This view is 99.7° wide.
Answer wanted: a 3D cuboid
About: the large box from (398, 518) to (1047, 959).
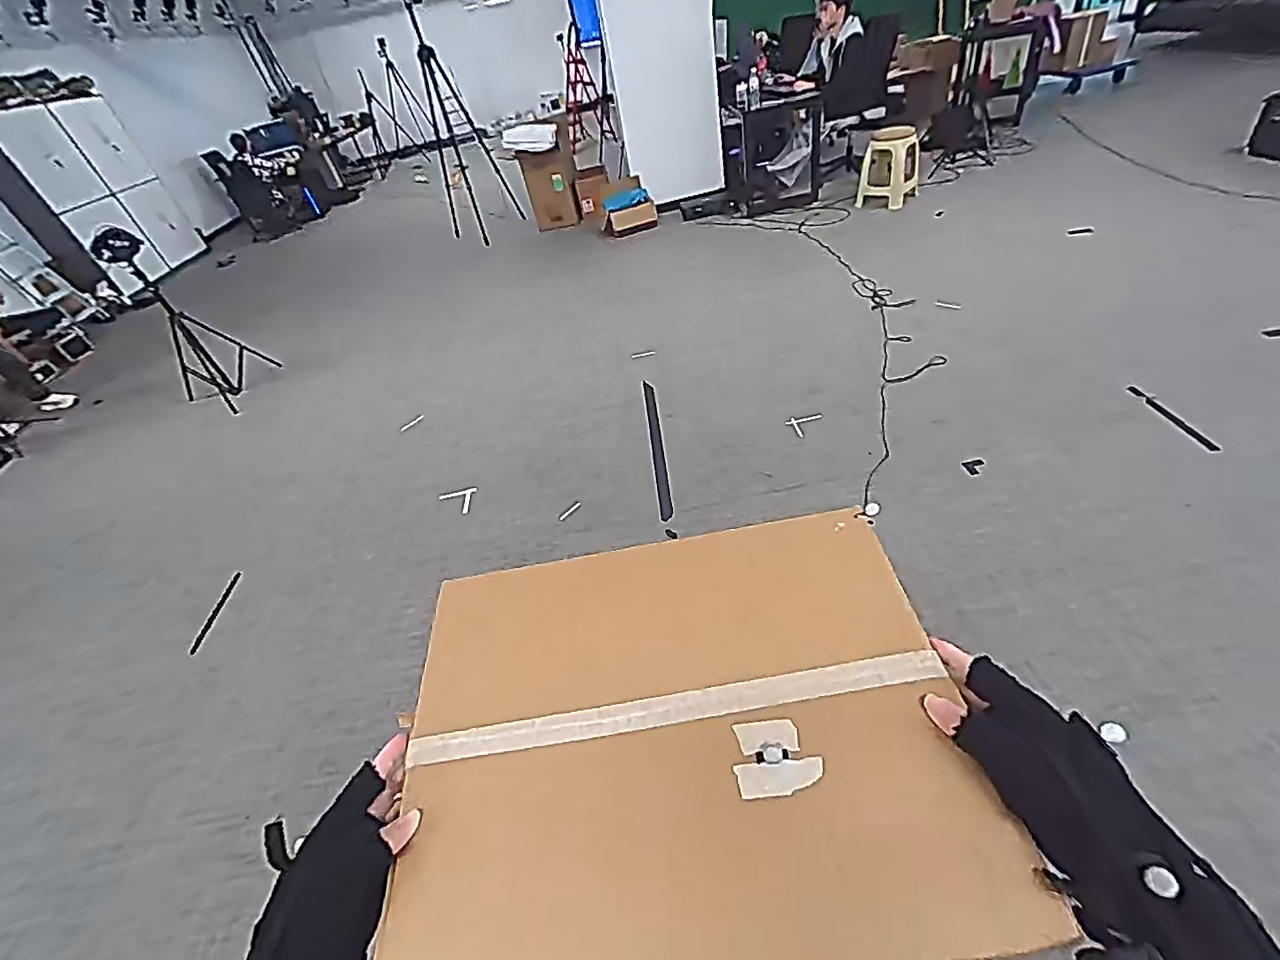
[{"bbox_3d":[0.049,0.282,0.526,0.408,0.320,0.320,-10,47,2],"label":"large box"}]
